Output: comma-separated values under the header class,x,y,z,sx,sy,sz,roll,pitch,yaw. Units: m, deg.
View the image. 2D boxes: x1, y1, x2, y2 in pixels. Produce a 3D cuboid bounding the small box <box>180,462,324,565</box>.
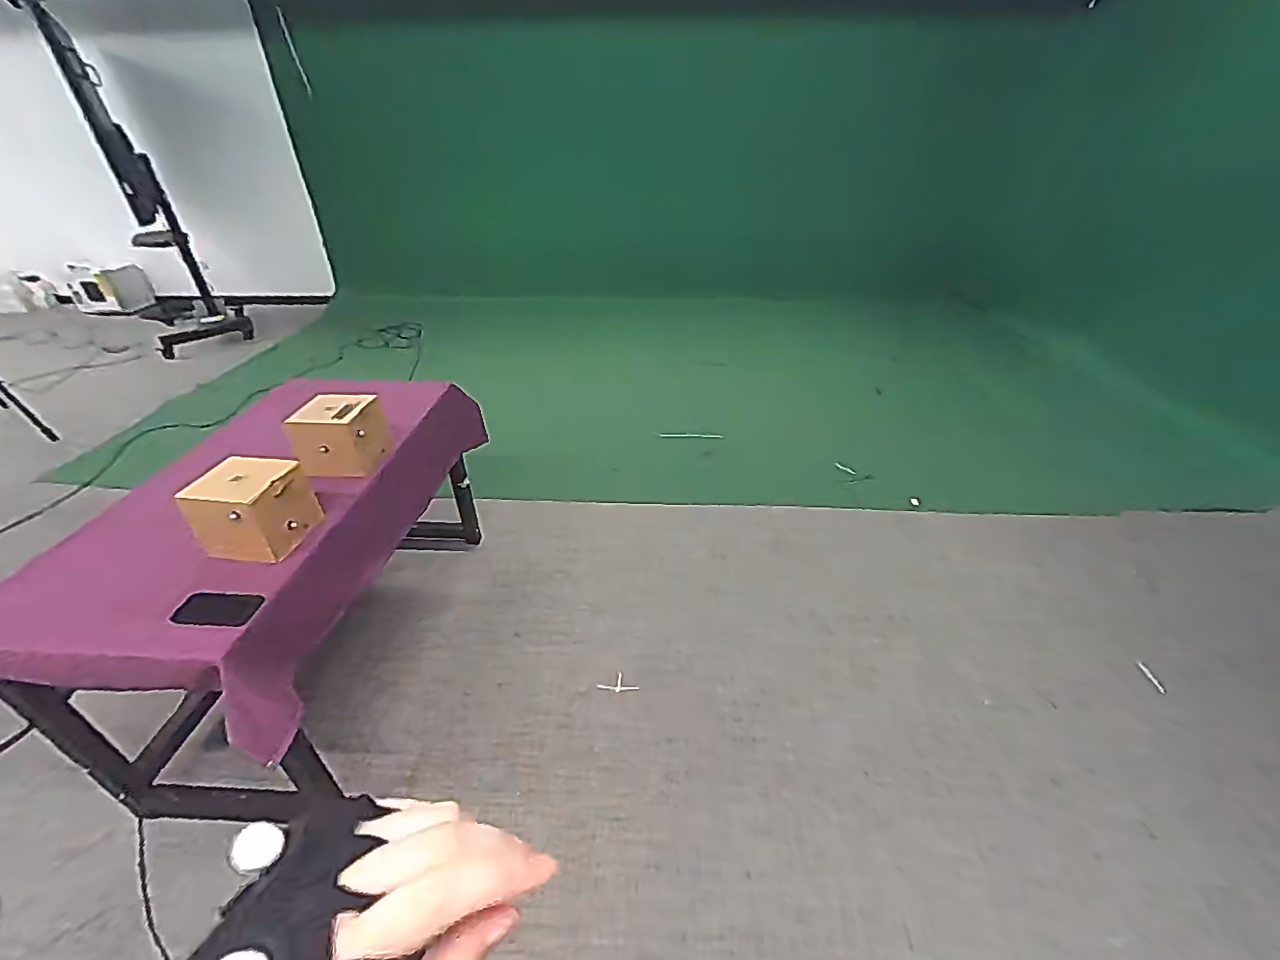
class,x,y,z,sx,sy,sz,roll,pitch,yaw
small box,-0.866,0.076,1.227,0.179,0.176,0.168,4,34,7
